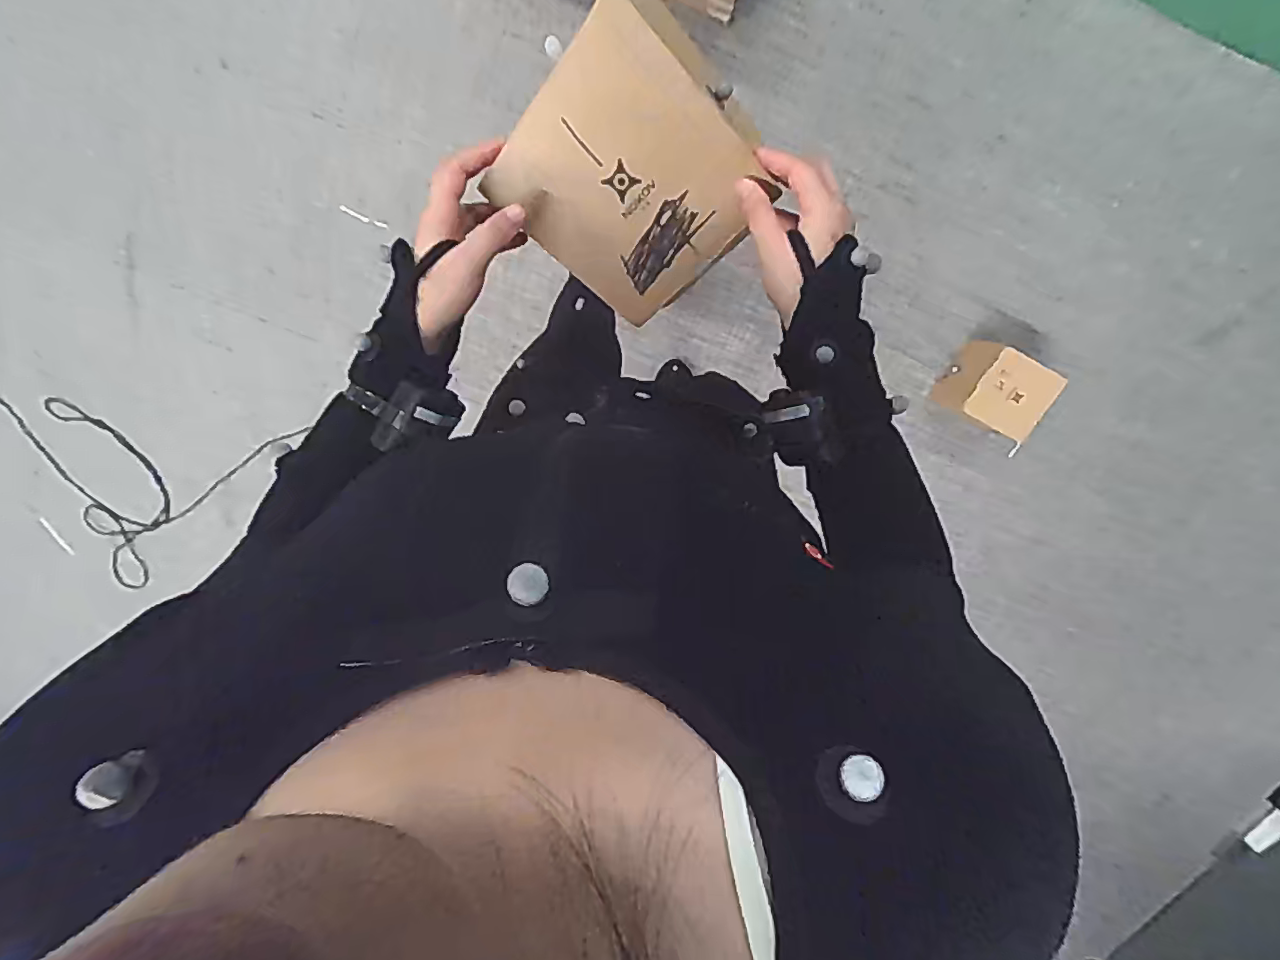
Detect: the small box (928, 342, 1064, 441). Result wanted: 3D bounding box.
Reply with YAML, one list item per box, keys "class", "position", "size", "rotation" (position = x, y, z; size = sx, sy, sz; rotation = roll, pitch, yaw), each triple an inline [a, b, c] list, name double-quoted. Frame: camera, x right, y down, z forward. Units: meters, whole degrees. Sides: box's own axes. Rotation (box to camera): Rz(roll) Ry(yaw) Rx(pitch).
- class: "small box"
  position: [0.848, -0.221, 1.305]
  size: [0.179, 0.176, 0.168]
  rotation: [26, 108, -7]

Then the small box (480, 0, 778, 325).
- class: "small box"
  position: [-0.004, -0.281, 0.472]
  size: [0.179, 0.176, 0.168]
  rotation: [35, 128, -28]
